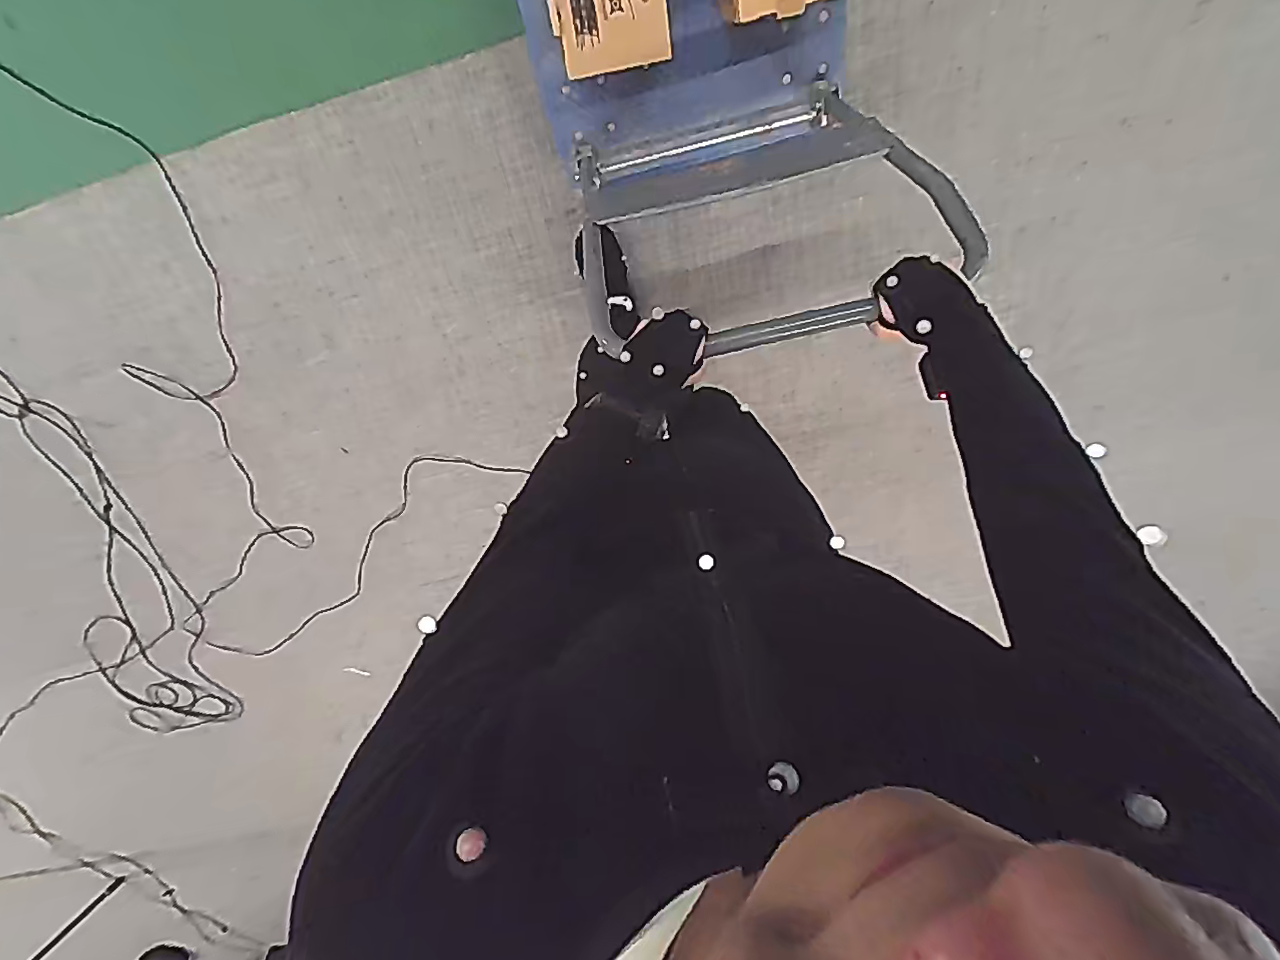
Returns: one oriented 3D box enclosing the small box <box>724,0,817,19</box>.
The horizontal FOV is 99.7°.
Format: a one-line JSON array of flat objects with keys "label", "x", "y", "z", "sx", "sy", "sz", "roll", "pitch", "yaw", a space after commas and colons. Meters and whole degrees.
[{"label": "small box", "x": 0.219, "y": -0.861, "z": 0.850, "sx": 0.168, "sy": 0.176, "sz": 0.179, "roll": -12, "pitch": 134, "yaw": 6}]
